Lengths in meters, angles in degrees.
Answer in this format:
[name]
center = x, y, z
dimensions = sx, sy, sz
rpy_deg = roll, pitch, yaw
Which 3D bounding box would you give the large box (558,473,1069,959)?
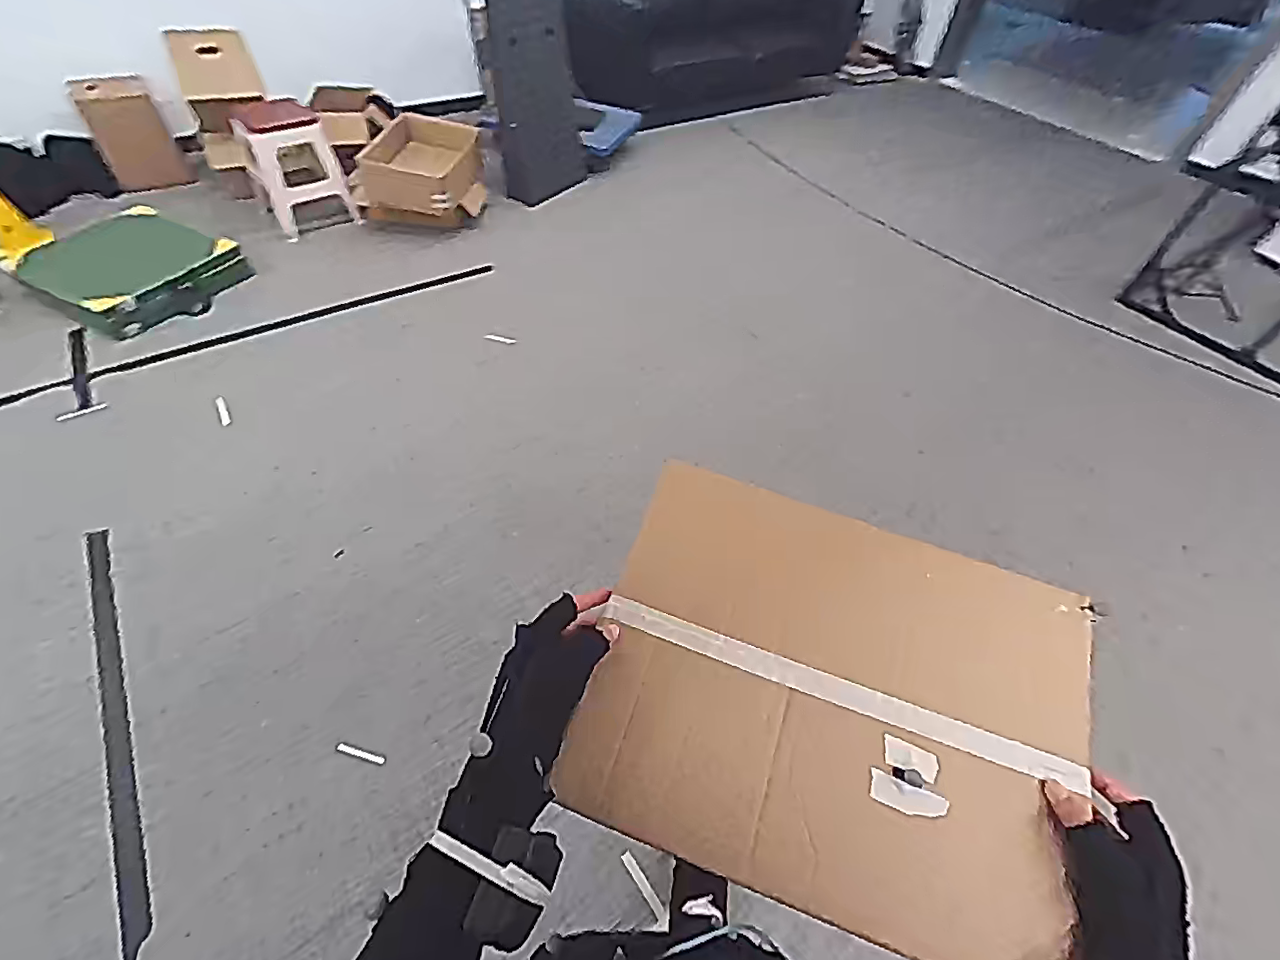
[large box]
center = 0.161, 0.241, 0.609
dimensions = 0.408, 0.320, 0.320
rpy_deg = 19, 67, 7
